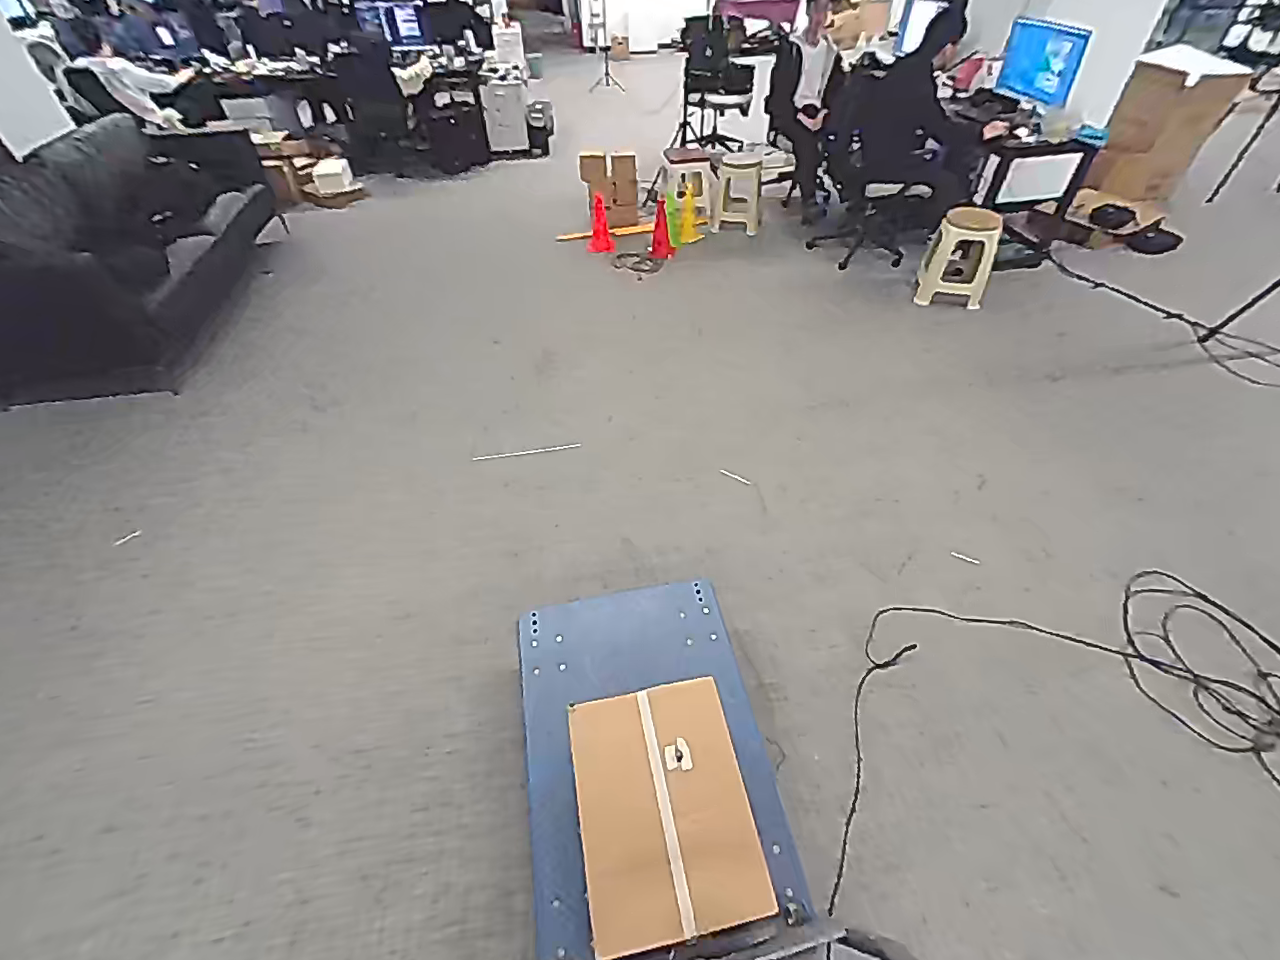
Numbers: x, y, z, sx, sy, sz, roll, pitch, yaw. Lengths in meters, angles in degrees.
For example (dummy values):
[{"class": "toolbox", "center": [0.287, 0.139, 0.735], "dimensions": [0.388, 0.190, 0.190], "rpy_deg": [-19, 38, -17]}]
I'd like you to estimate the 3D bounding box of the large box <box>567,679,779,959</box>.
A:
[{"class": "large box", "center": [0.047, 0.690, 1.116], "dimensions": [0.320, 0.320, 0.408], "rpy_deg": [-10, 51, -7]}]
